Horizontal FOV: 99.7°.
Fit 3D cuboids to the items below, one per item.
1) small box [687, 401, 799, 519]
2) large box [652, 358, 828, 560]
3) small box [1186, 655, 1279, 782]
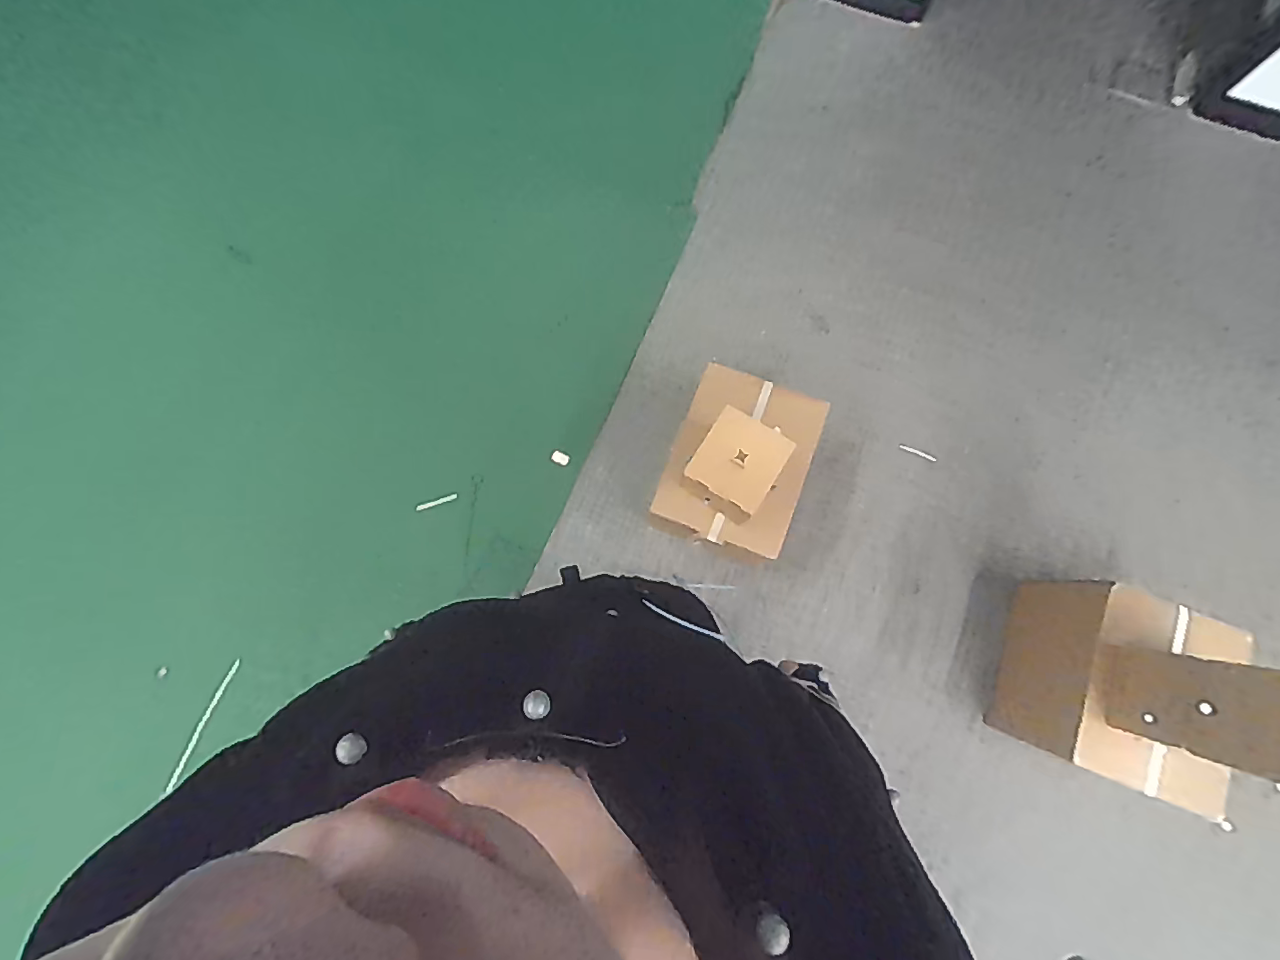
[{"bbox_3d":[0.211,-0.035,1.166,0.168,0.176,0.179,32,83,8],"label":"small box"},{"bbox_3d":[0.243,-0.035,1.415,0.320,0.320,0.408,22,80,5],"label":"large box"},{"bbox_3d":[1.082,0.411,0.908,0.168,0.176,0.179,13,81,5],"label":"small box"}]
